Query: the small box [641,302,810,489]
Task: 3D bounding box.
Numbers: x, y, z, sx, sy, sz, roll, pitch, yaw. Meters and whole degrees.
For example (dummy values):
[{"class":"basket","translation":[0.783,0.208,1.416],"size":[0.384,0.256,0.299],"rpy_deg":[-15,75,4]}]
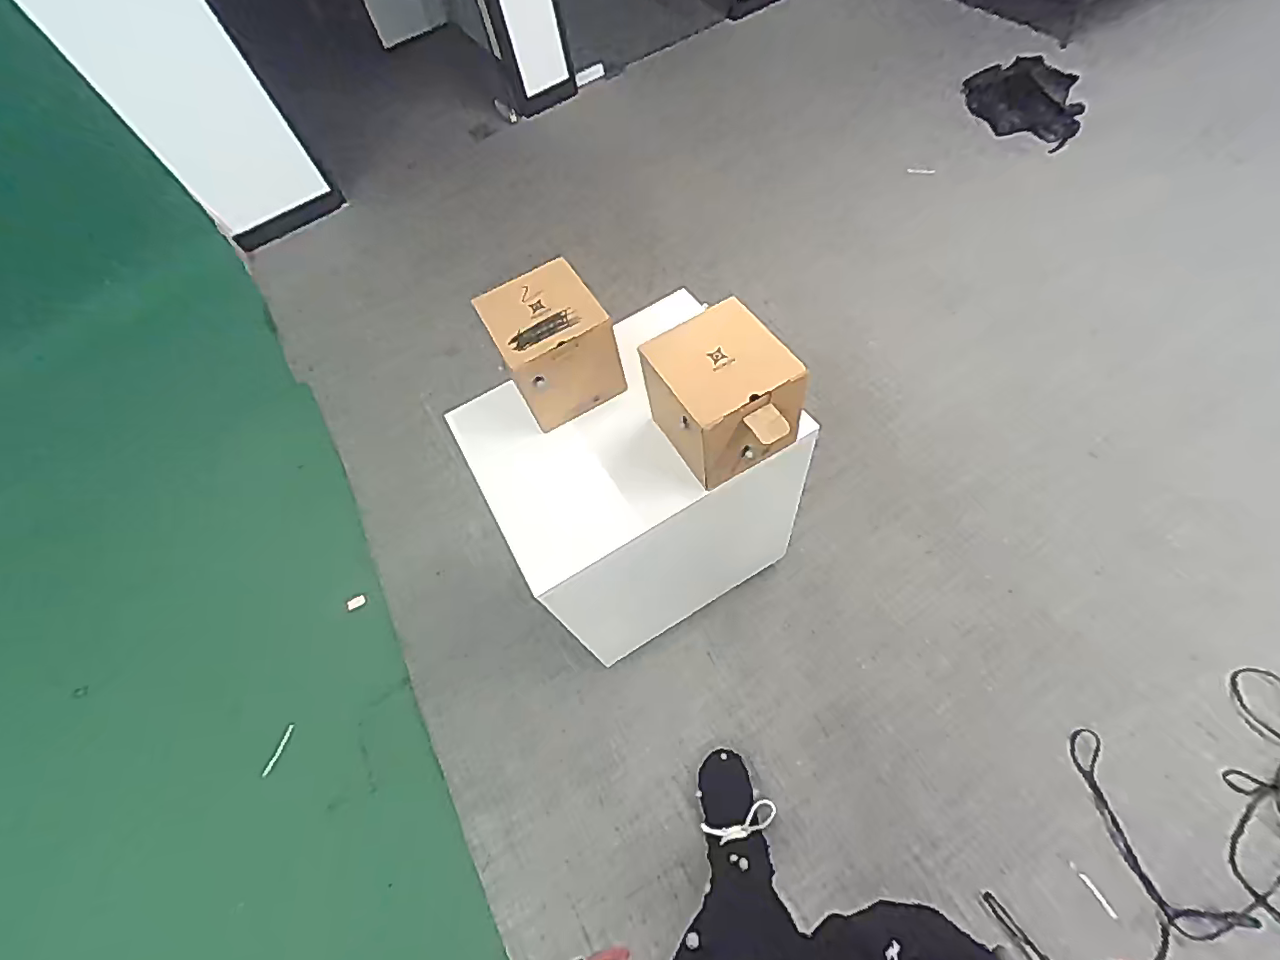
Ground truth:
[{"class":"small box","translation":[0.120,-0.120,0.797],"size":[0.168,0.176,0.179],"rpy_deg":[-29,60,-8]}]
